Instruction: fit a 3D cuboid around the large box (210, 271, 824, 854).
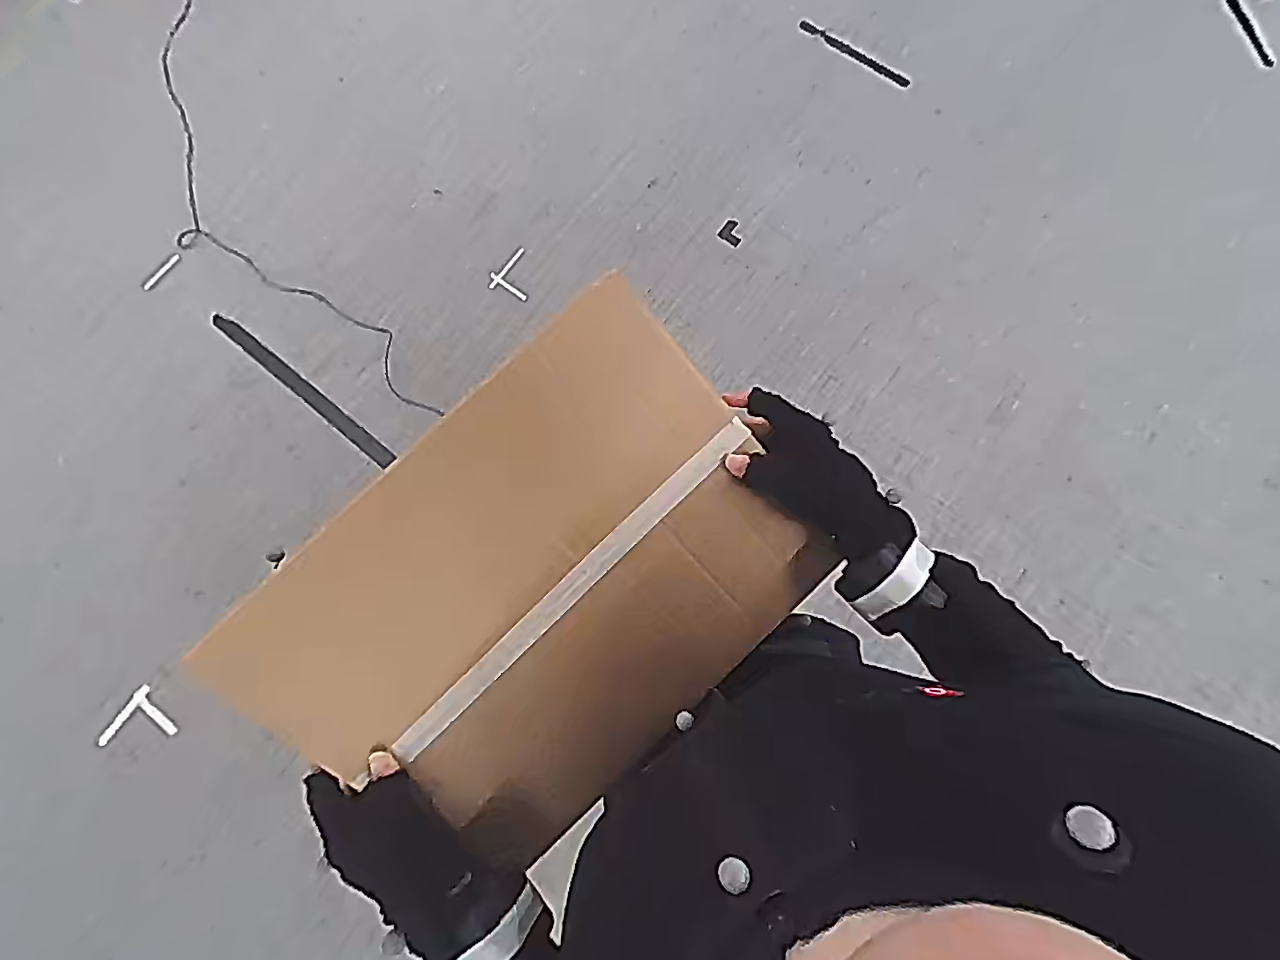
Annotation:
[{"bbox_3d":[-0.106,0.060,0.578,0.408,0.320,0.320,-43,108,-3],"label":"large box"}]
